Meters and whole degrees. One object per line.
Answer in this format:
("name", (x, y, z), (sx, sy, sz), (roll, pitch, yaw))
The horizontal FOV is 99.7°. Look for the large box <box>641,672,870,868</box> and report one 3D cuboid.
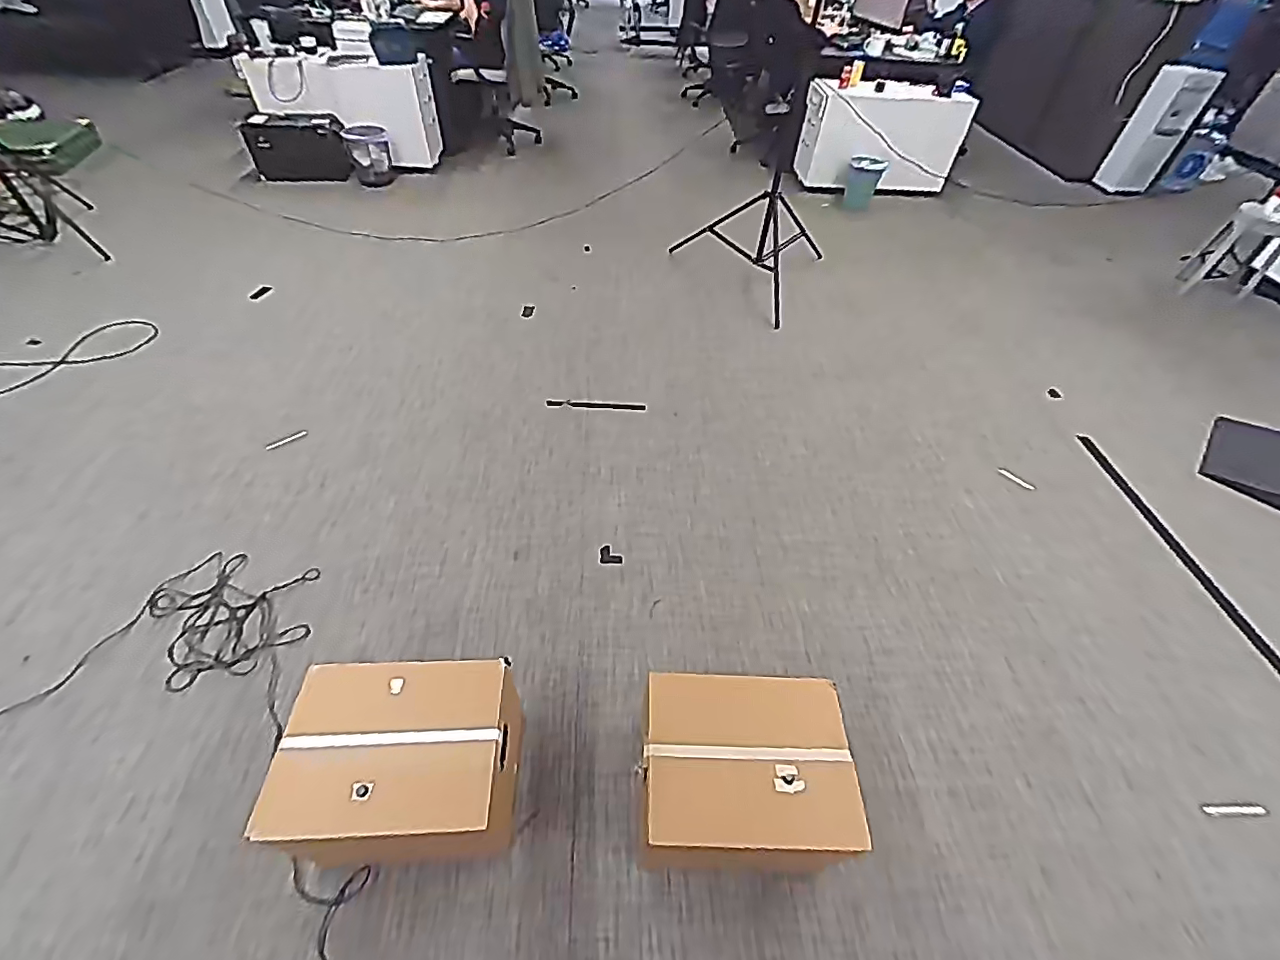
("large box", (0.211, 0.637, 1.179), (0.408, 0.320, 0.320), (3, 48, -2))
